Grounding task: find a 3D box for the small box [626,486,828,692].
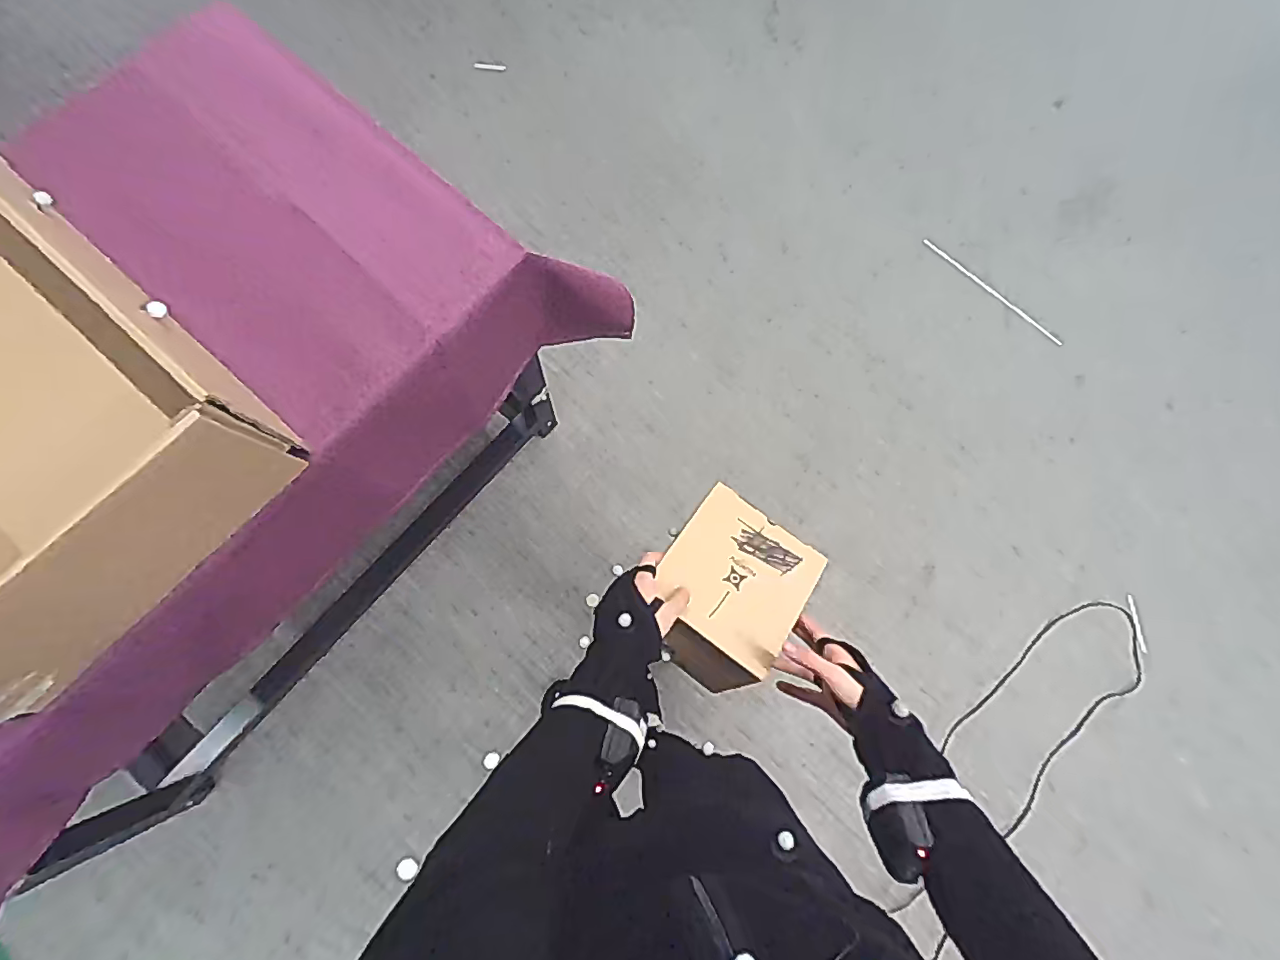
[{"bbox_3d":[0.099,0.145,0.690,0.168,0.176,0.179,36,63,7],"label":"small box"}]
